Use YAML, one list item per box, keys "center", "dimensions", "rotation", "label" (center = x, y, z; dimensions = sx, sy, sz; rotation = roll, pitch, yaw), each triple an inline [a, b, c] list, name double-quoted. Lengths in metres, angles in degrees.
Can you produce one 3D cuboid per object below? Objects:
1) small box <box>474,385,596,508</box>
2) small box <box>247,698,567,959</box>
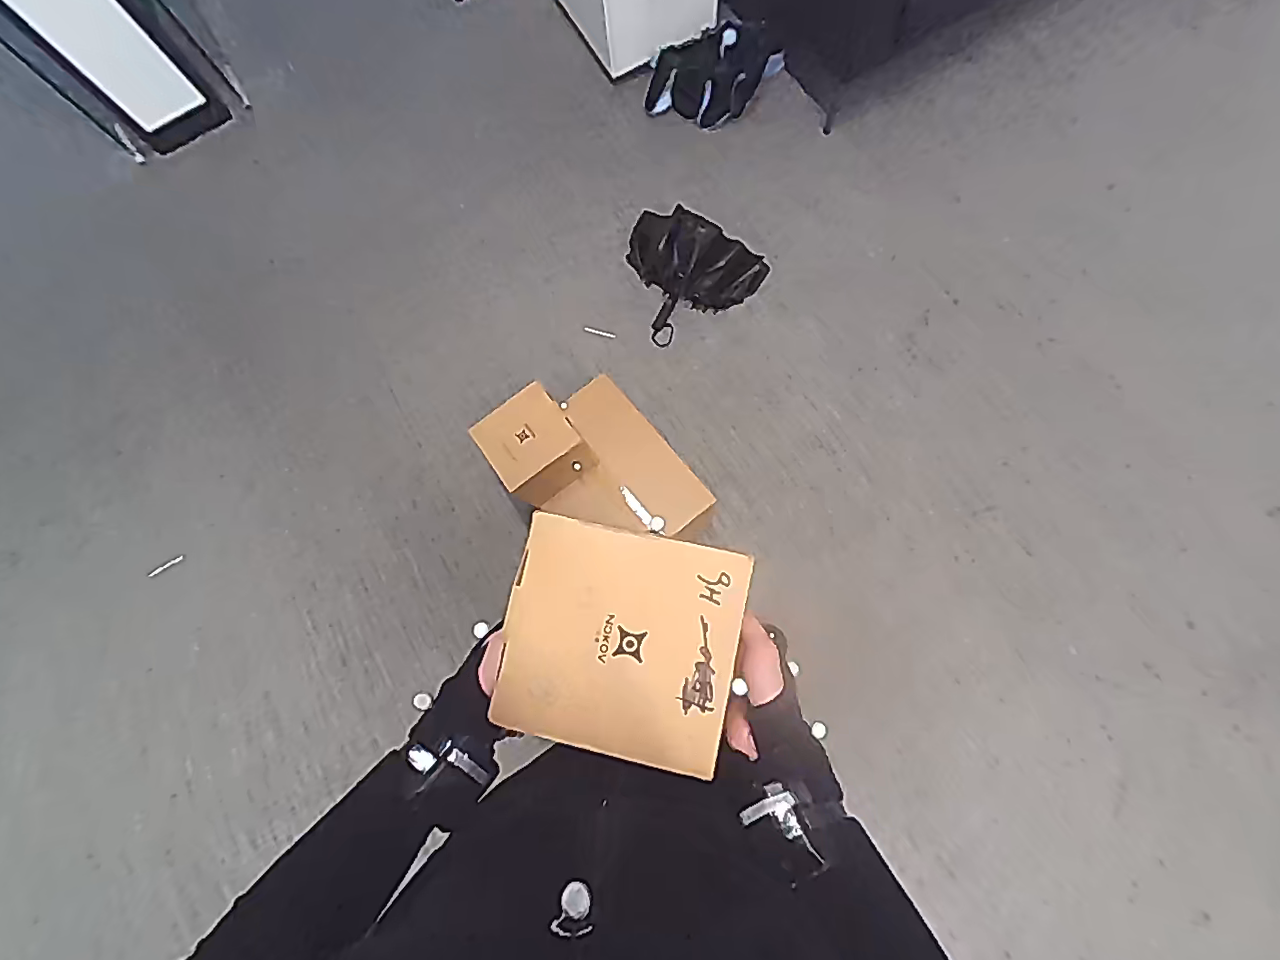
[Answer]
- center: [-0.209, -0.062, 1.140]
  dimensions: [0.179, 0.176, 0.168]
  rotation: [-37, 74, 0]
  label: "small box"
- center: [-0.180, 0.314, 0.451]
  dimensions: [0.176, 0.179, 0.168]
  rotation: [-1, 97, 31]
  label: "small box"
